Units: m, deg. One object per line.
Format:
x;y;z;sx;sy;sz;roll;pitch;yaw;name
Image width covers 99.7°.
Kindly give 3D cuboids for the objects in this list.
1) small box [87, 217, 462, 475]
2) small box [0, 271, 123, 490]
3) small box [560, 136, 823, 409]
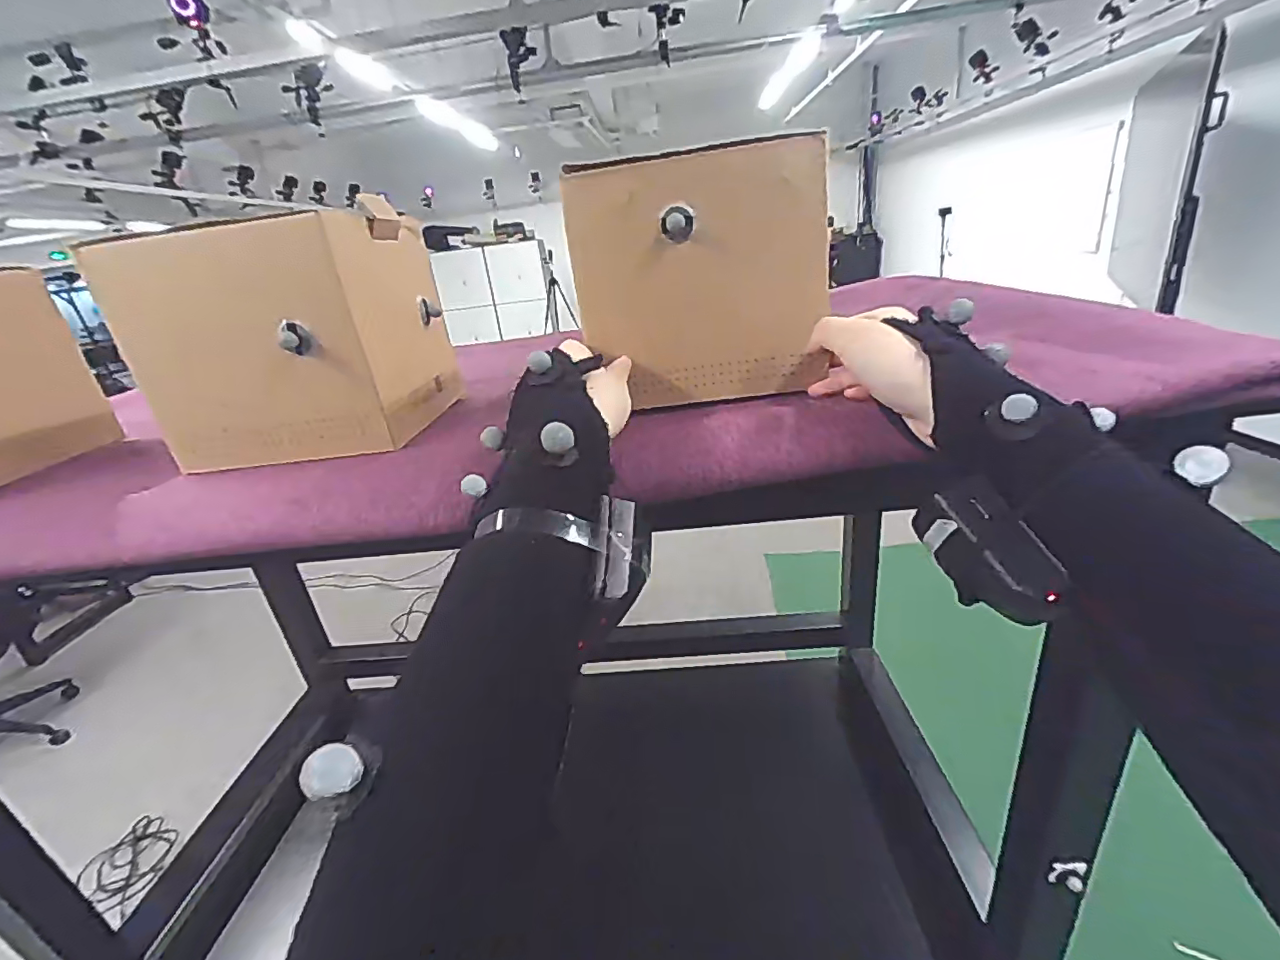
-0.273;-0.116;0.458;0.179;0.176;0.168;-7;22;4;small box
-0.613;-0.073;0.455;0.168;0.176;0.179;-5;23;2;small box
0.048;-0.161;0.455;0.179;0.176;0.168;-5;20;6;small box
